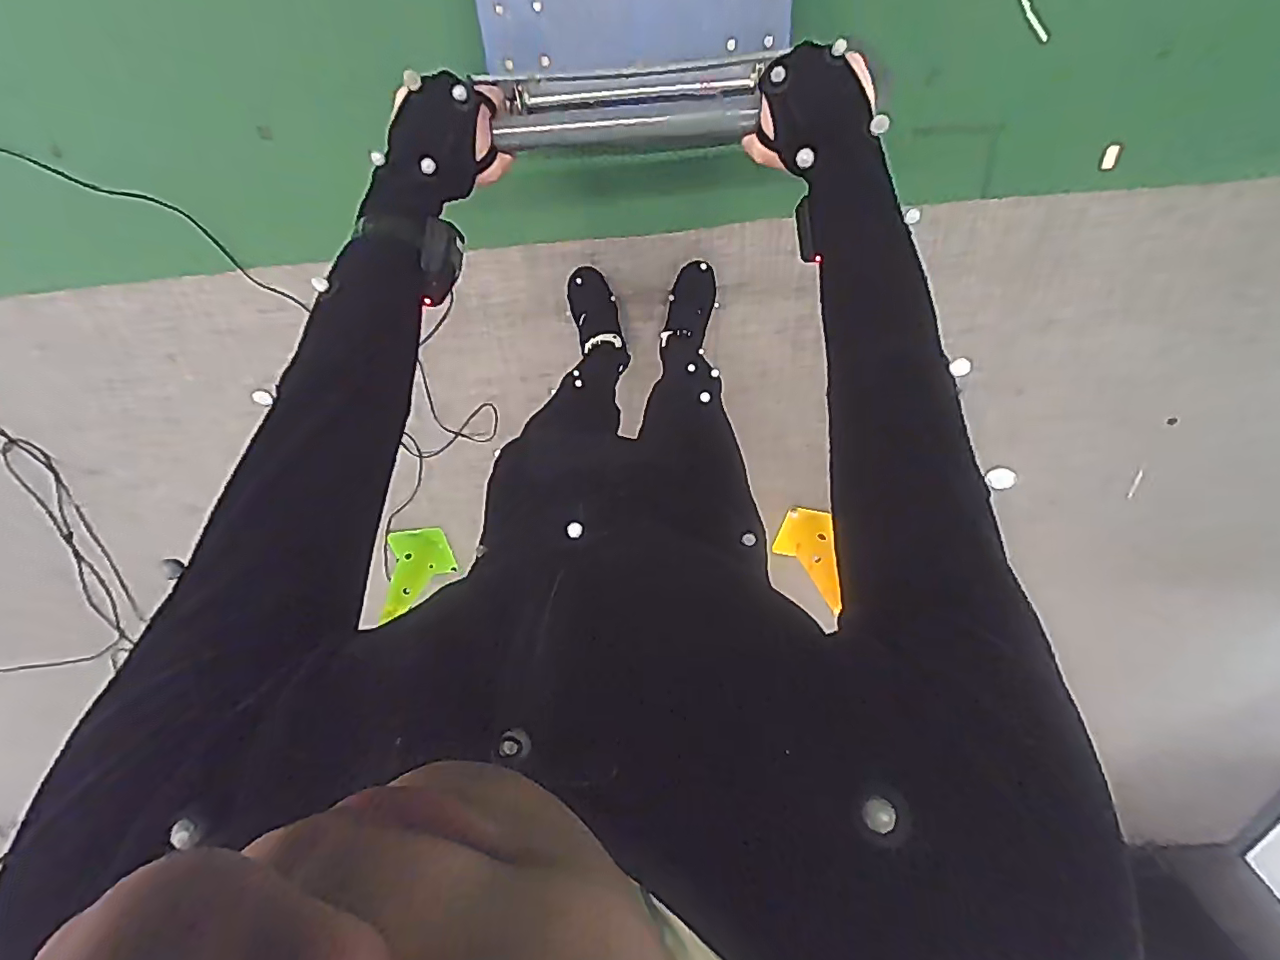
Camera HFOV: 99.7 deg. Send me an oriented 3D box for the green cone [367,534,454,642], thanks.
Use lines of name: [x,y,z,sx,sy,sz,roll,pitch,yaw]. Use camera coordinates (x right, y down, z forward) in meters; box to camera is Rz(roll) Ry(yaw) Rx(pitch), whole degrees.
green cone: [-0.768,0.361,1.727,0.202,0.368,0.200,-7,122,6]
